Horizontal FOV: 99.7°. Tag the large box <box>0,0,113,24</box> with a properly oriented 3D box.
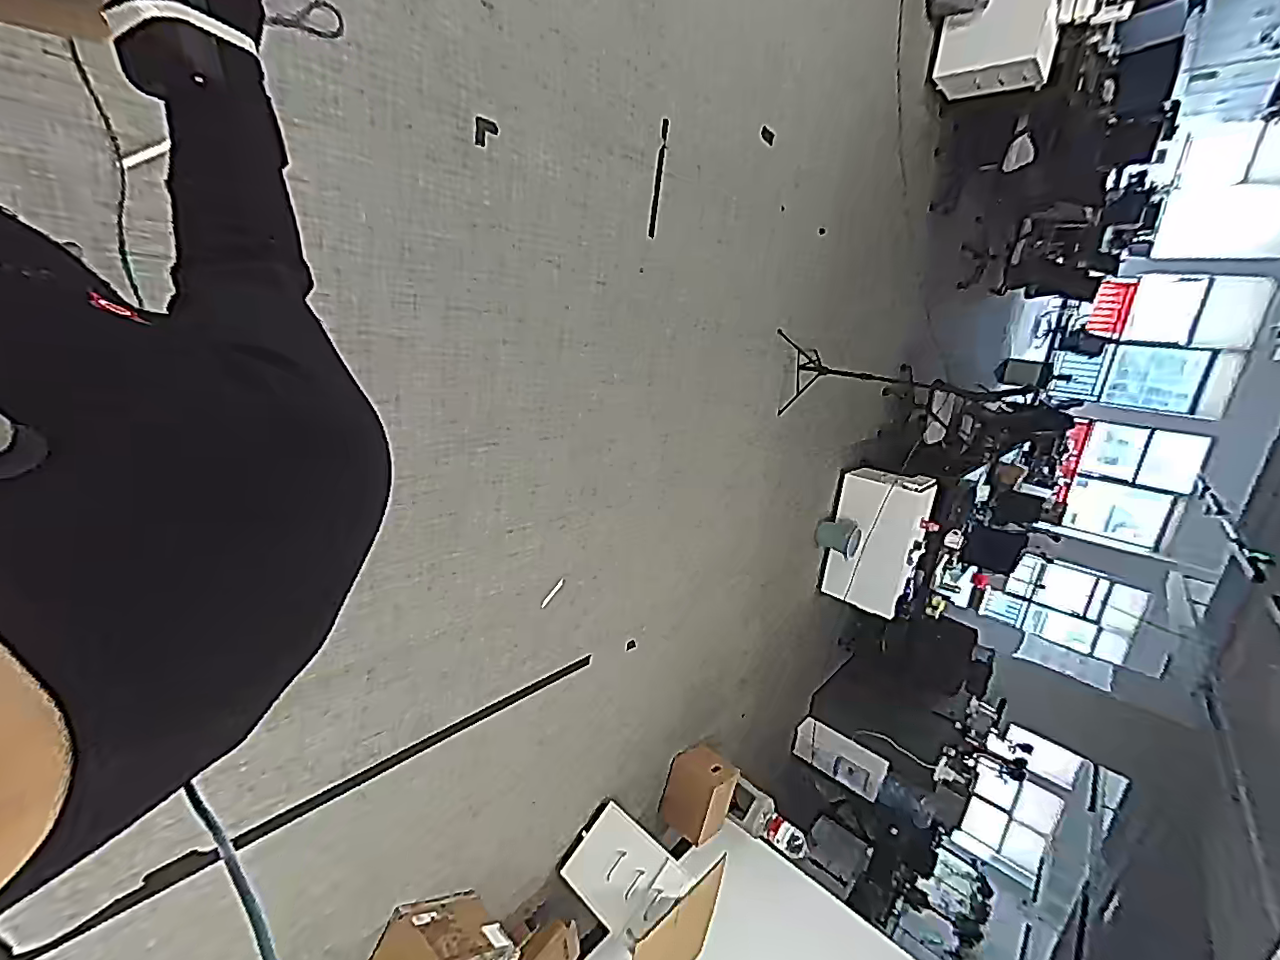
[{"bbox_3d":[-0.557,-0.481,0.252,0.408,0.320,0.320,-22,128,-44],"label":"large box"}]
